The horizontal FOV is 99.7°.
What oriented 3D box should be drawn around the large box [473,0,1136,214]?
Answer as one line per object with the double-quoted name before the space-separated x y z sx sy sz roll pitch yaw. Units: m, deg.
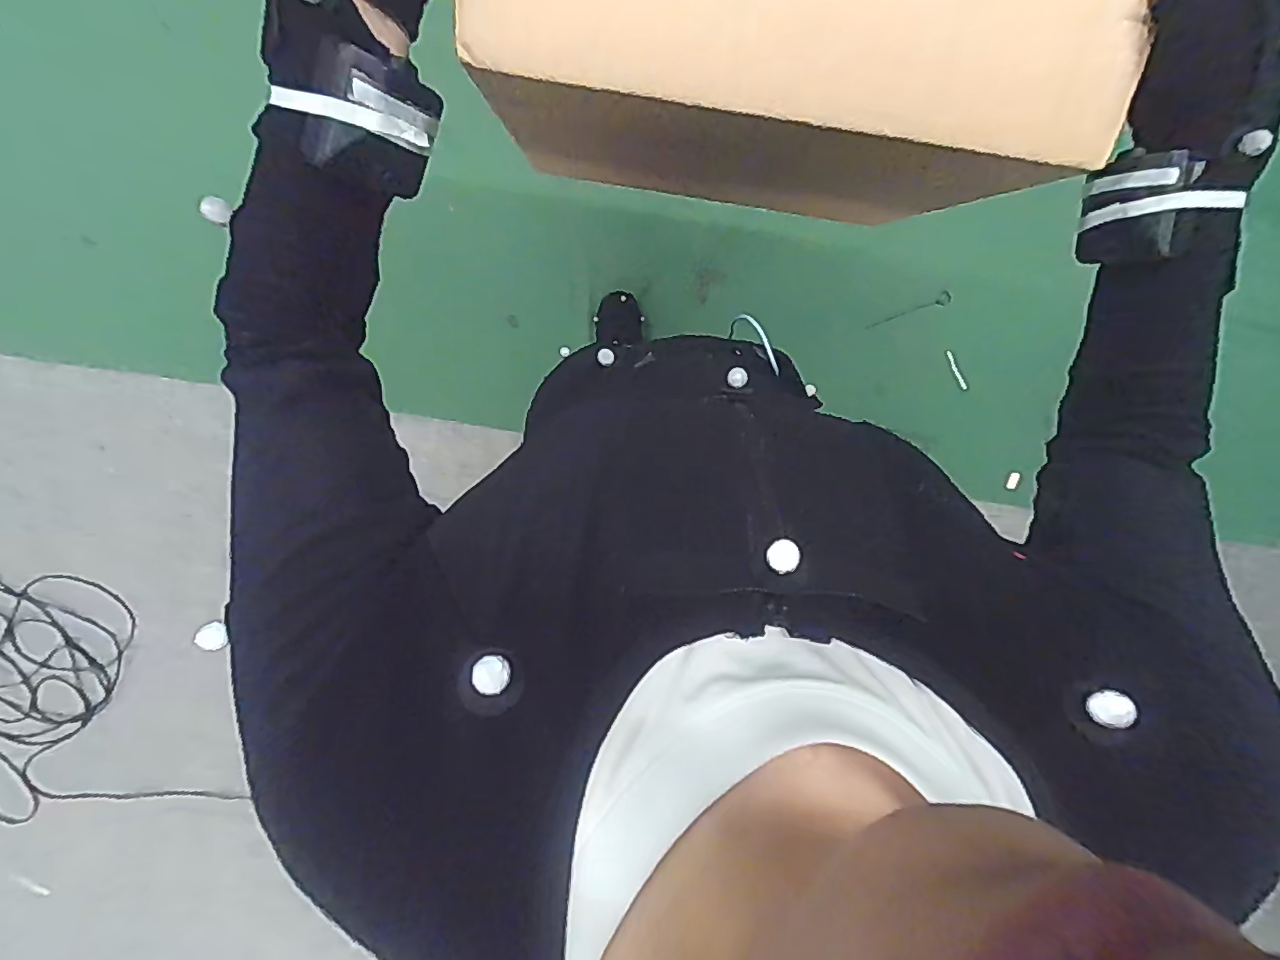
"large box" 0.103 -0.421 0.430 0.408 0.320 0.320 5 110 -5
